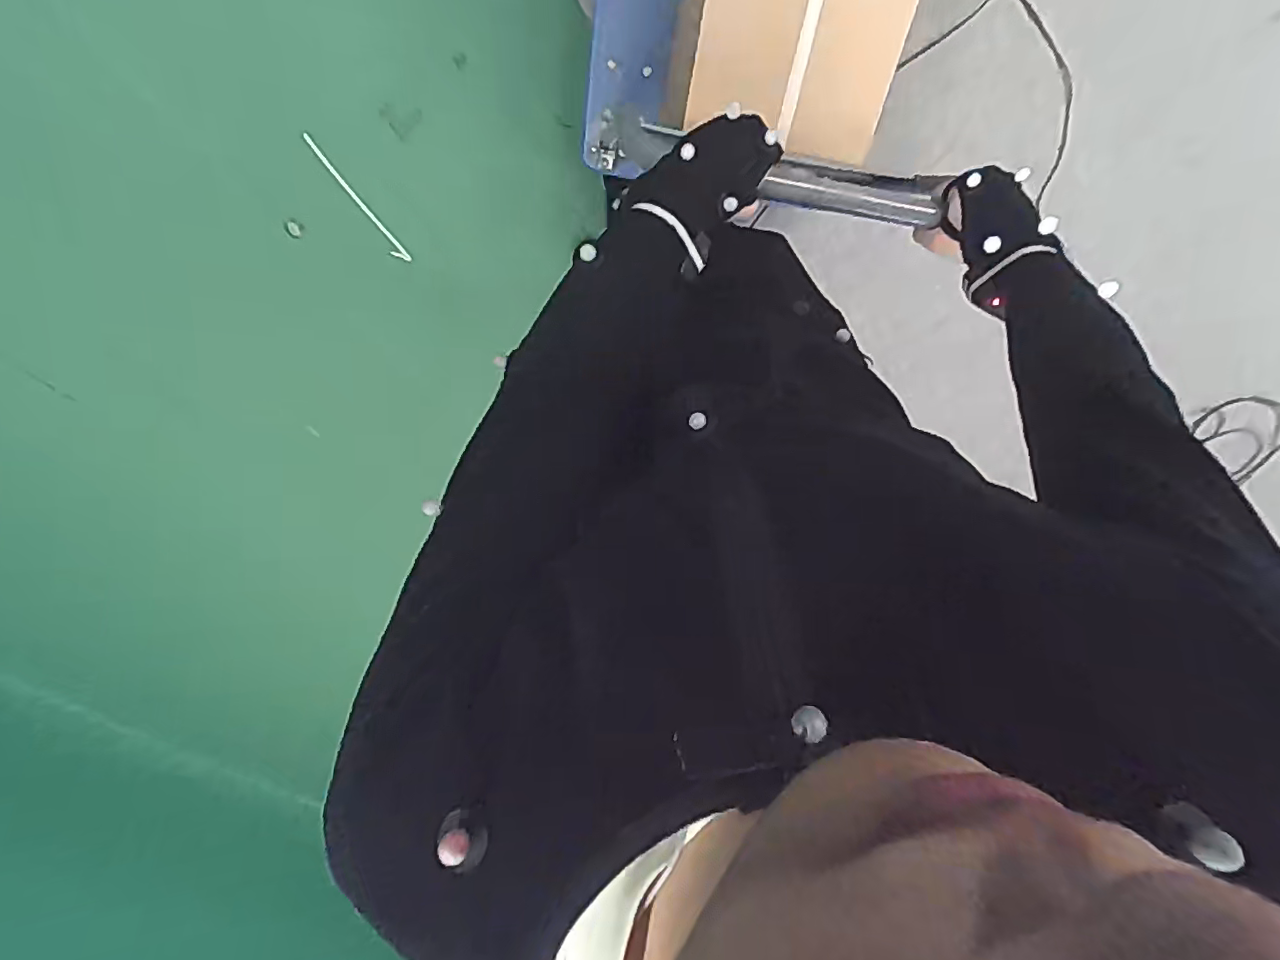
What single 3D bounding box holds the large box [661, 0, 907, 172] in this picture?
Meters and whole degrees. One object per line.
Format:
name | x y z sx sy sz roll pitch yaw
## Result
large box | 0.226 -0.777 0.908 0.320 0.320 0.408 5 124 -9
